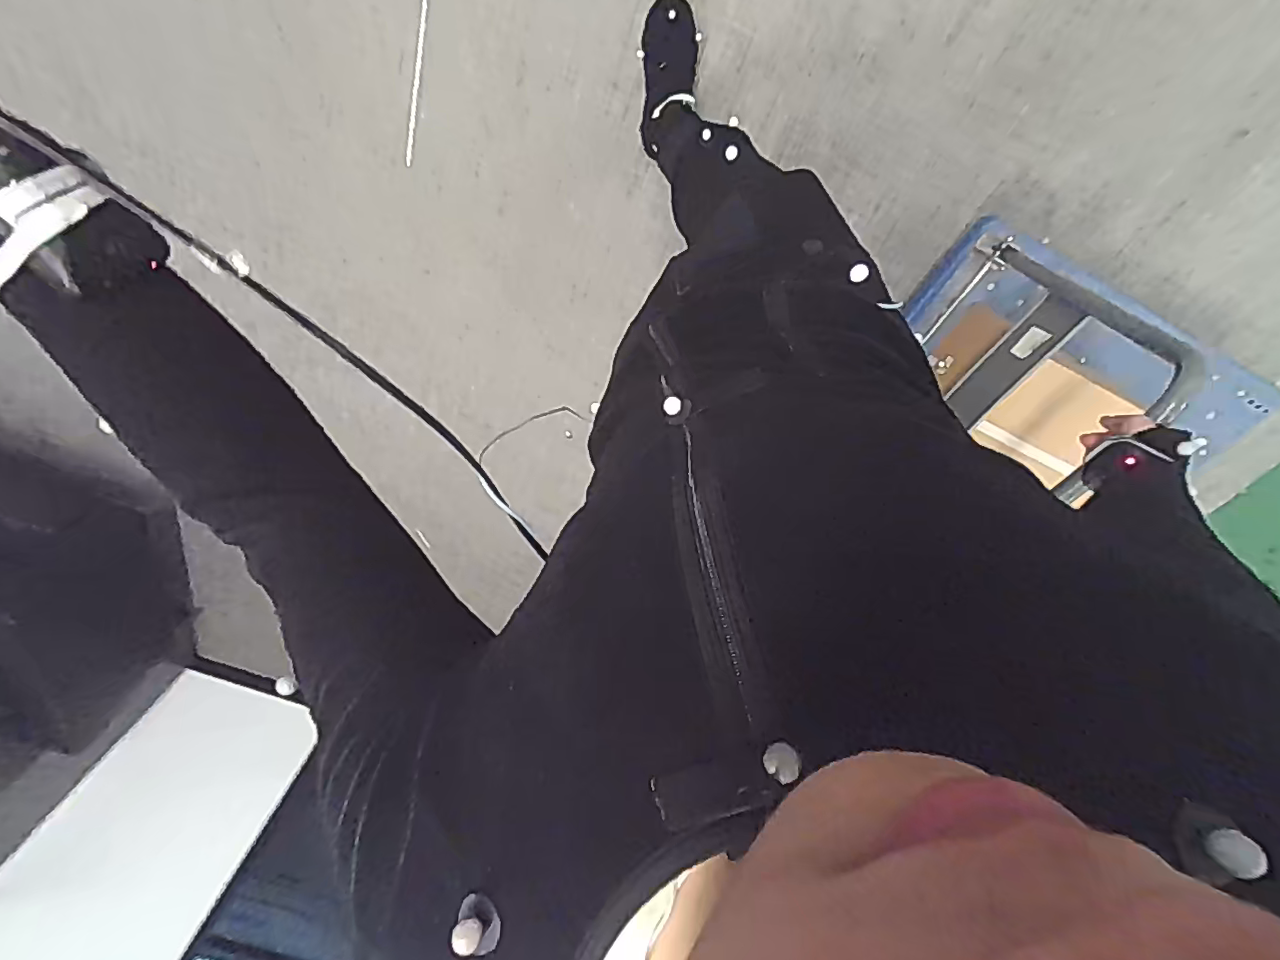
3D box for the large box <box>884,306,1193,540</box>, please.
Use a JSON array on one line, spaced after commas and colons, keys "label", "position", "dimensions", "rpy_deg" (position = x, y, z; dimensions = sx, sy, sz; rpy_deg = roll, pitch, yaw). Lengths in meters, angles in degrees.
[{"label": "large box", "position": [0.847, -0.134, 1.221], "dimensions": [0.408, 0.320, 0.320], "rpy_deg": [24, 125, -8]}]
